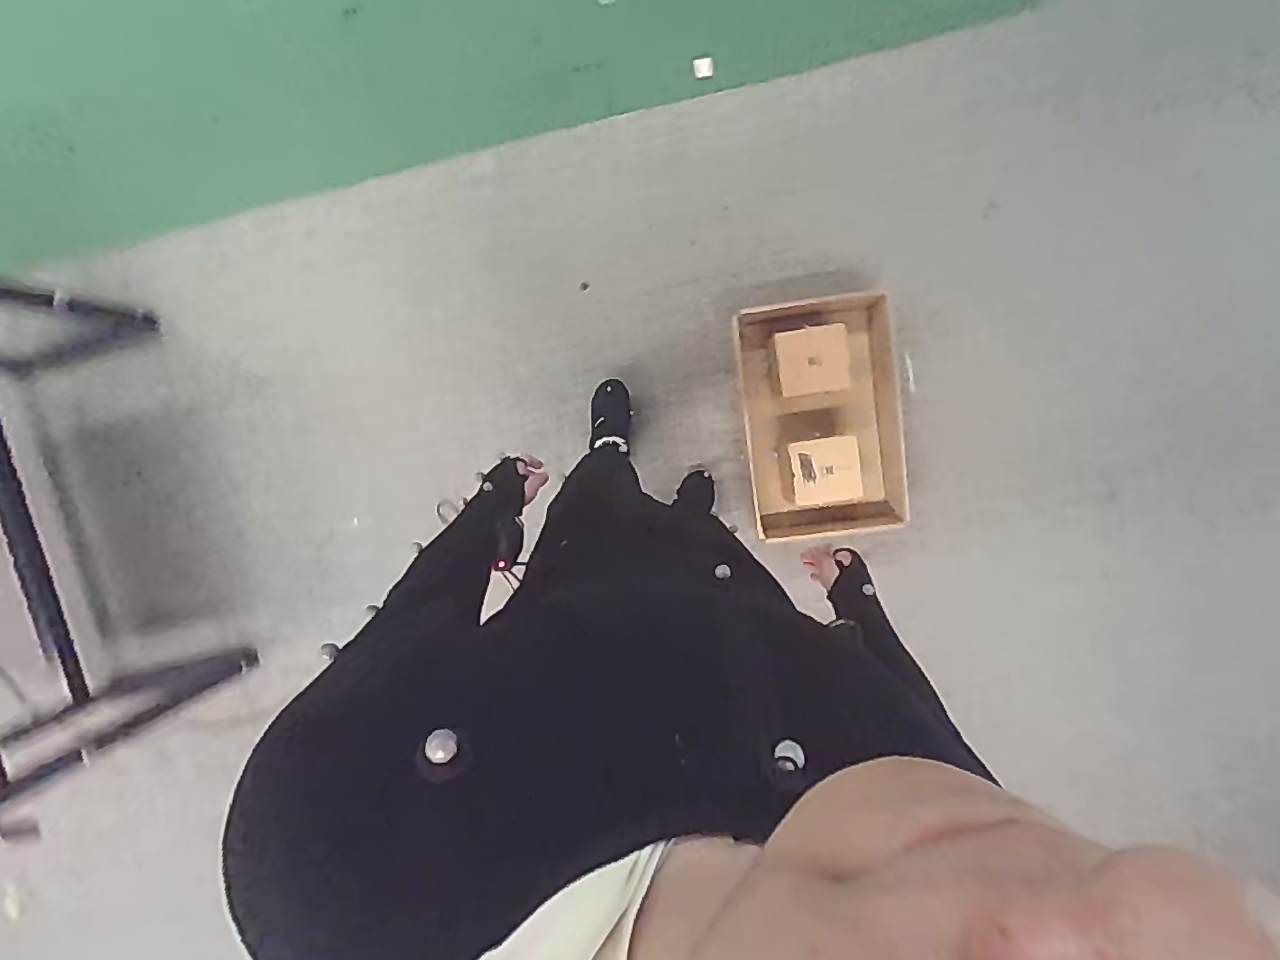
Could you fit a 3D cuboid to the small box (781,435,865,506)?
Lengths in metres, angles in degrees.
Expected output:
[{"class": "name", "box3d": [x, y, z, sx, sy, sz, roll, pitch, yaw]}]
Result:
[{"class": "small box", "box3d": [0.482, -0.028, 1.448, 0.179, 0.176, 0.168, -7, 94, 4]}]
